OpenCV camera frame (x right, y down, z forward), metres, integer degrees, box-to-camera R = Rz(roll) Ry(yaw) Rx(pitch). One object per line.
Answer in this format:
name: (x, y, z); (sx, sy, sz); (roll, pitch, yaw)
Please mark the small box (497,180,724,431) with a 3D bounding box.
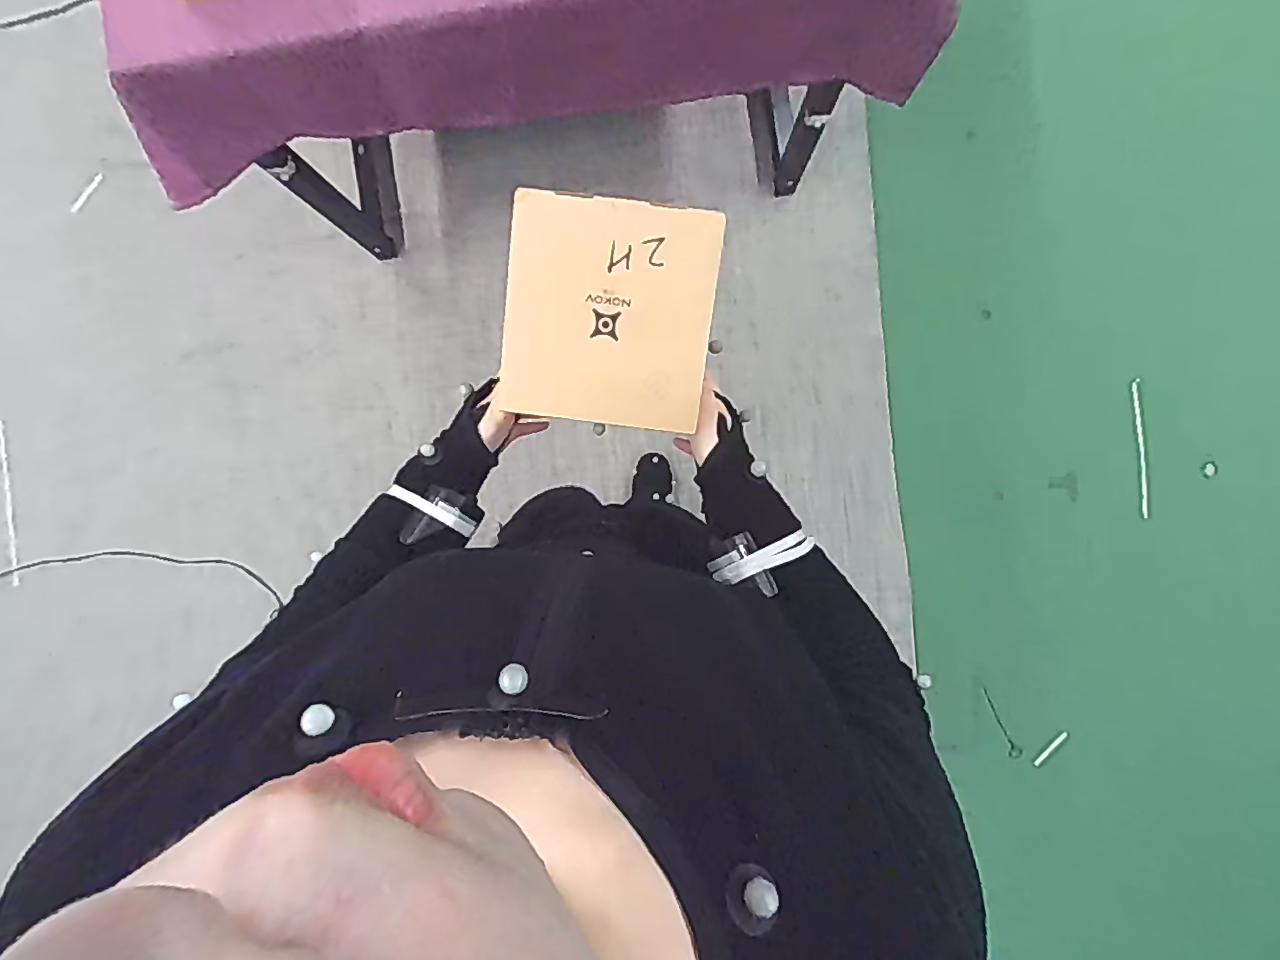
small box: (-0.023, -0.148, 0.508); (0.168, 0.176, 0.179); (8, 98, 1)
